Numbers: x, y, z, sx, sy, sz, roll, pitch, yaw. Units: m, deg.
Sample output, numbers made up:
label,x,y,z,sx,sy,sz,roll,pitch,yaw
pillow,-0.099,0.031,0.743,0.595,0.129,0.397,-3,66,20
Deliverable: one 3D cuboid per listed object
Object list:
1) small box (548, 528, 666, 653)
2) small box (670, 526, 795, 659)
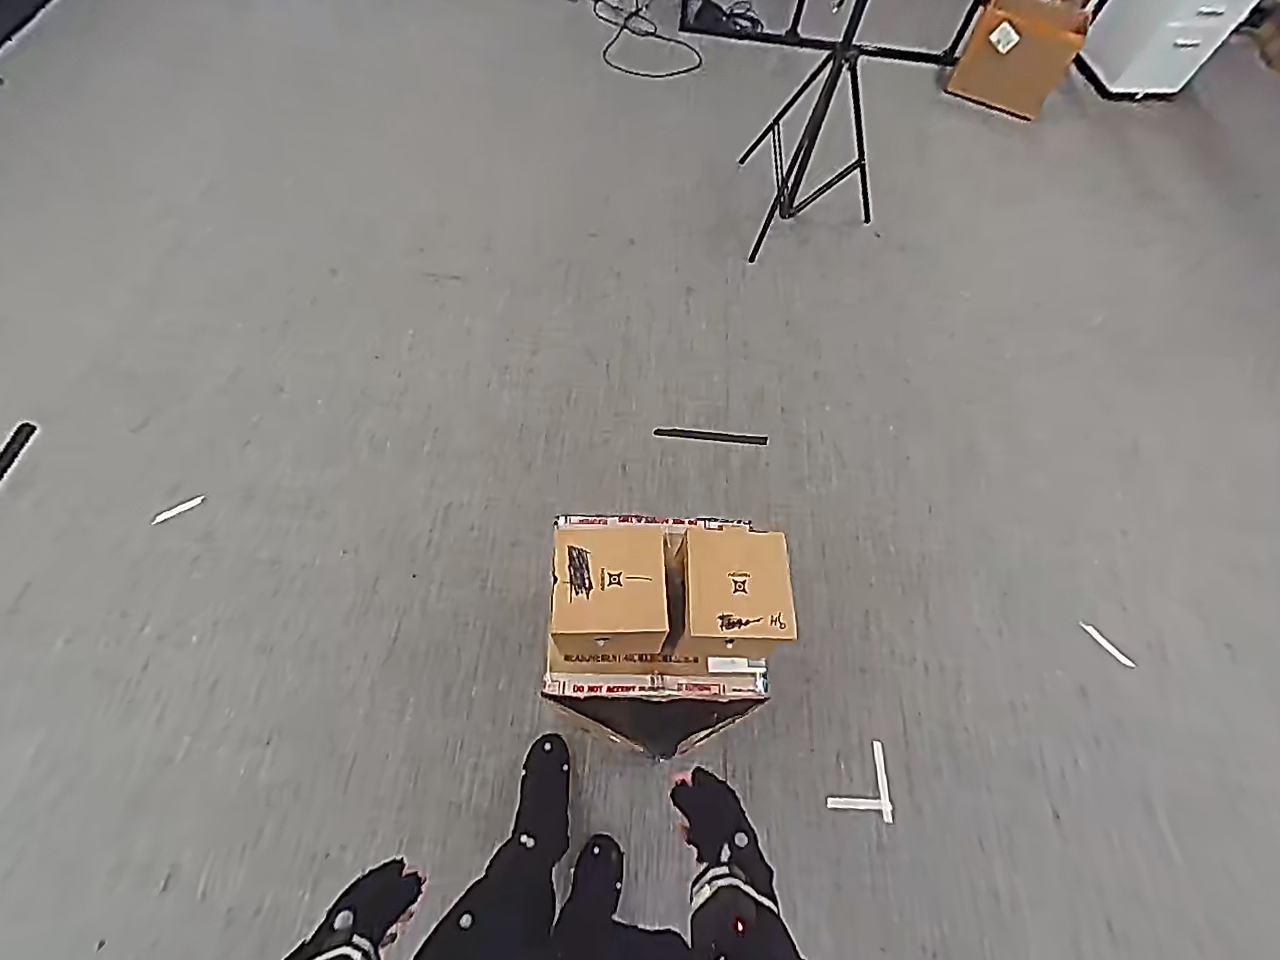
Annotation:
label,x,y,z,sx,sy,sz,roll,pitch,yaw
small box,-0.054,0.188,0.897,0.179,0.176,0.168,0,62,-4
small box,0.144,0.194,0.912,0.168,0.176,0.179,3,61,-5
